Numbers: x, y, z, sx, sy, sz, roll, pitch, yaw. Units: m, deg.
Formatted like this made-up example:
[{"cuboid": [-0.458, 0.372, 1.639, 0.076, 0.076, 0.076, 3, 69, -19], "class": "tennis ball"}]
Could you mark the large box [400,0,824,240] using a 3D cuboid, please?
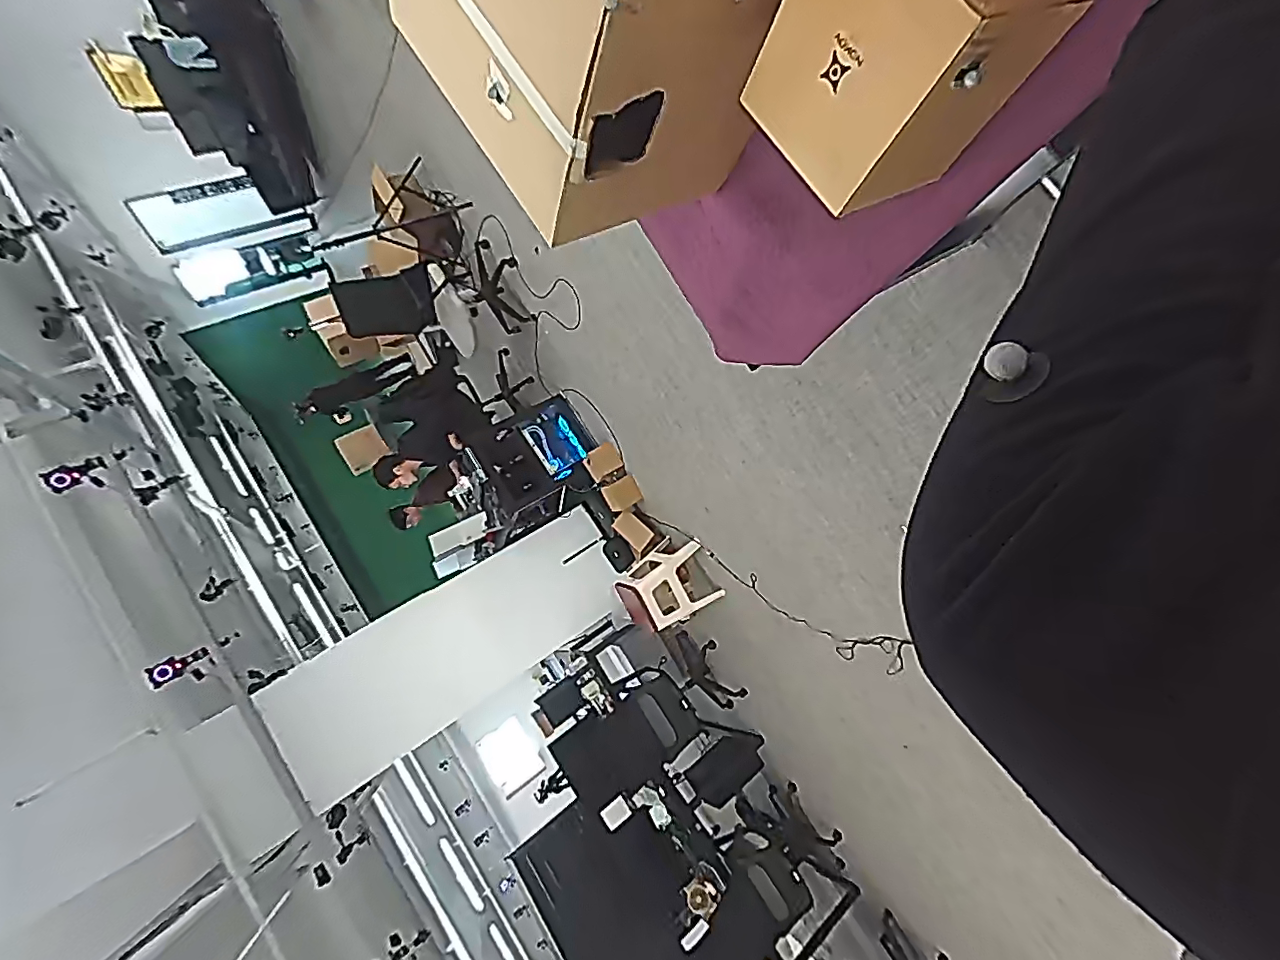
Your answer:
[{"cuboid": [-0.051, -0.591, 0.652, 0.408, 0.320, 0.320, 54, 156, 5], "class": "large box"}]
